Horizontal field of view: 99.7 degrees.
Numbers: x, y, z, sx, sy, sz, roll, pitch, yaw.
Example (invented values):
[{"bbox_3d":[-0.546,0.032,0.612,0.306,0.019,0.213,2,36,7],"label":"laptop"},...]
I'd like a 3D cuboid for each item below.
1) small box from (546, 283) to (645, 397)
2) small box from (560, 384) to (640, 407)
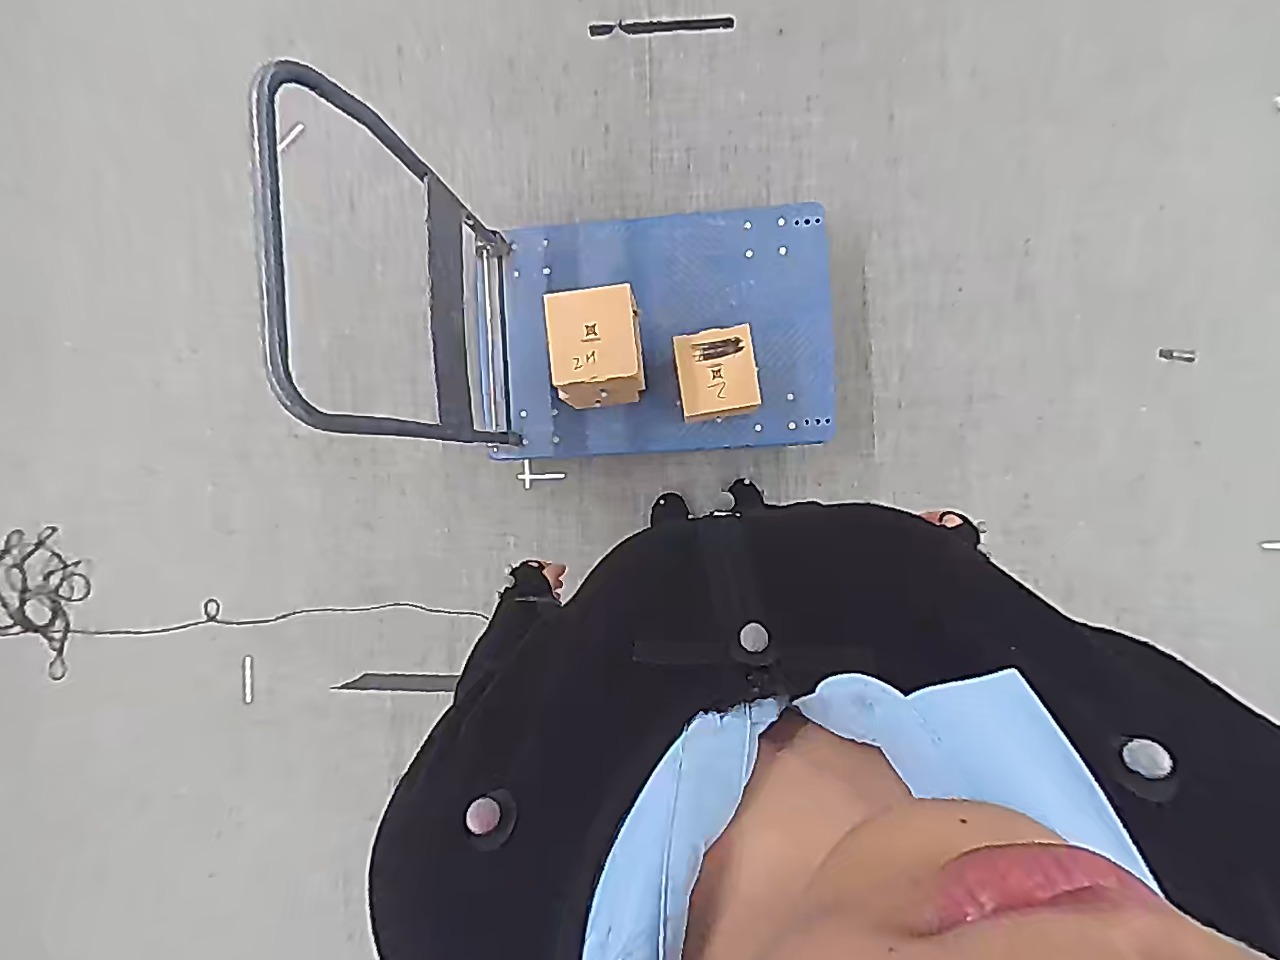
[{"bbox_3d":[-0.083,-0.273,1.088,0.168,0.176,0.179,-6,91,5],"label":"small box"},{"bbox_3d":[-0.094,-0.273,1.254,0.168,0.176,0.179,-6,90,5],"label":"small box"}]
